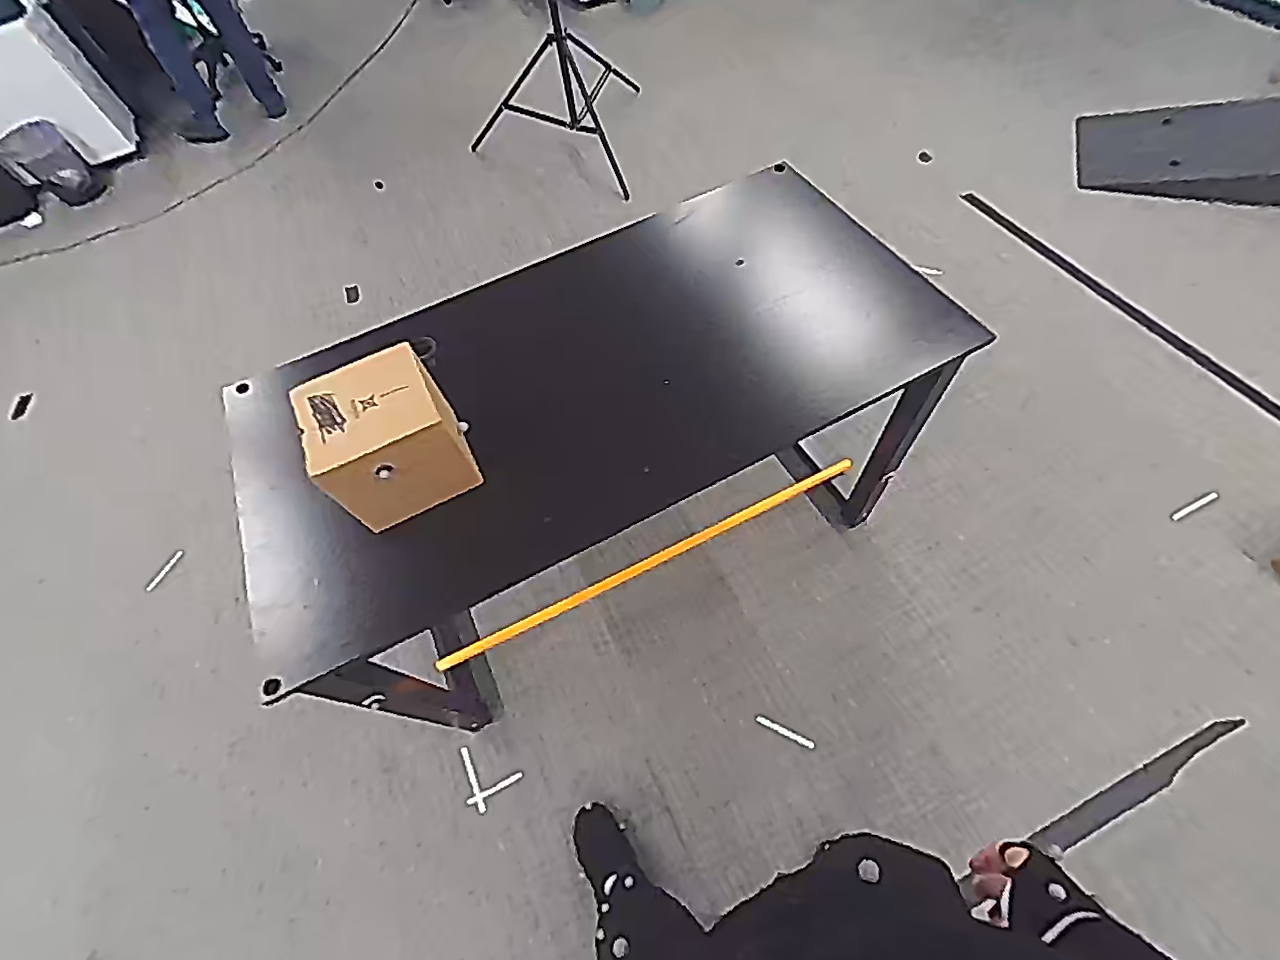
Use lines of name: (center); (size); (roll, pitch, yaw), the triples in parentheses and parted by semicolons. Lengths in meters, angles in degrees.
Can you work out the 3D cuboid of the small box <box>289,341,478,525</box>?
small box: (-0.364, -0.061, 0.787); (0.179, 0.176, 0.168); (-26, 61, -10)
